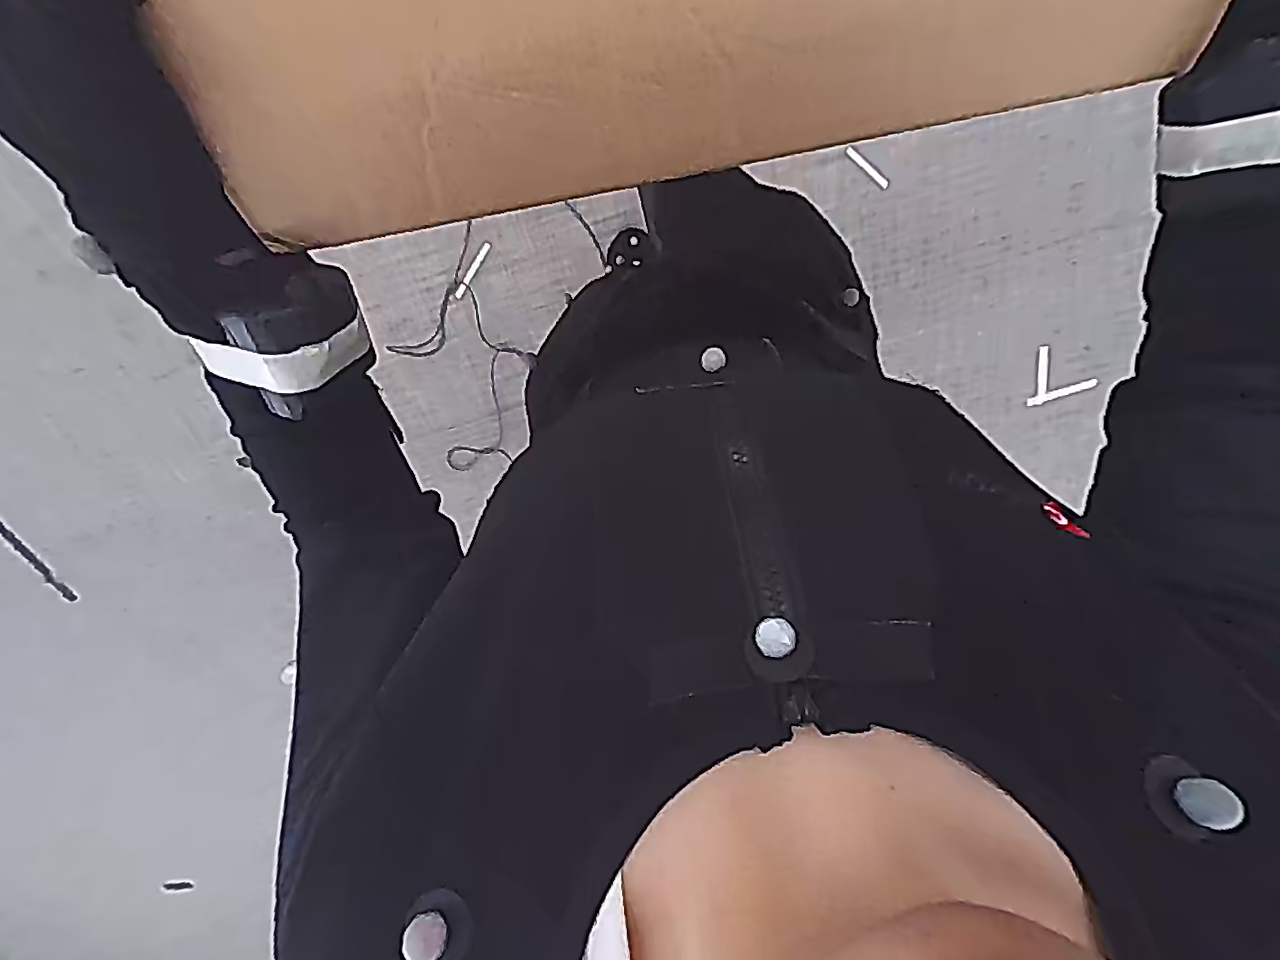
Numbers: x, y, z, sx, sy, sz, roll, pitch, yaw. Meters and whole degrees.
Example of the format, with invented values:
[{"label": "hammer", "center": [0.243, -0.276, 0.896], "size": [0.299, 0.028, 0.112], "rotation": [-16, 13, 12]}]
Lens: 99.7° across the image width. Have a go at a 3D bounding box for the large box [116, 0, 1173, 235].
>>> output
[{"label": "large box", "center": [-0.010, -0.357, 0.219], "size": [0.408, 0.320, 0.320], "rotation": [-10, 140, 2]}]
